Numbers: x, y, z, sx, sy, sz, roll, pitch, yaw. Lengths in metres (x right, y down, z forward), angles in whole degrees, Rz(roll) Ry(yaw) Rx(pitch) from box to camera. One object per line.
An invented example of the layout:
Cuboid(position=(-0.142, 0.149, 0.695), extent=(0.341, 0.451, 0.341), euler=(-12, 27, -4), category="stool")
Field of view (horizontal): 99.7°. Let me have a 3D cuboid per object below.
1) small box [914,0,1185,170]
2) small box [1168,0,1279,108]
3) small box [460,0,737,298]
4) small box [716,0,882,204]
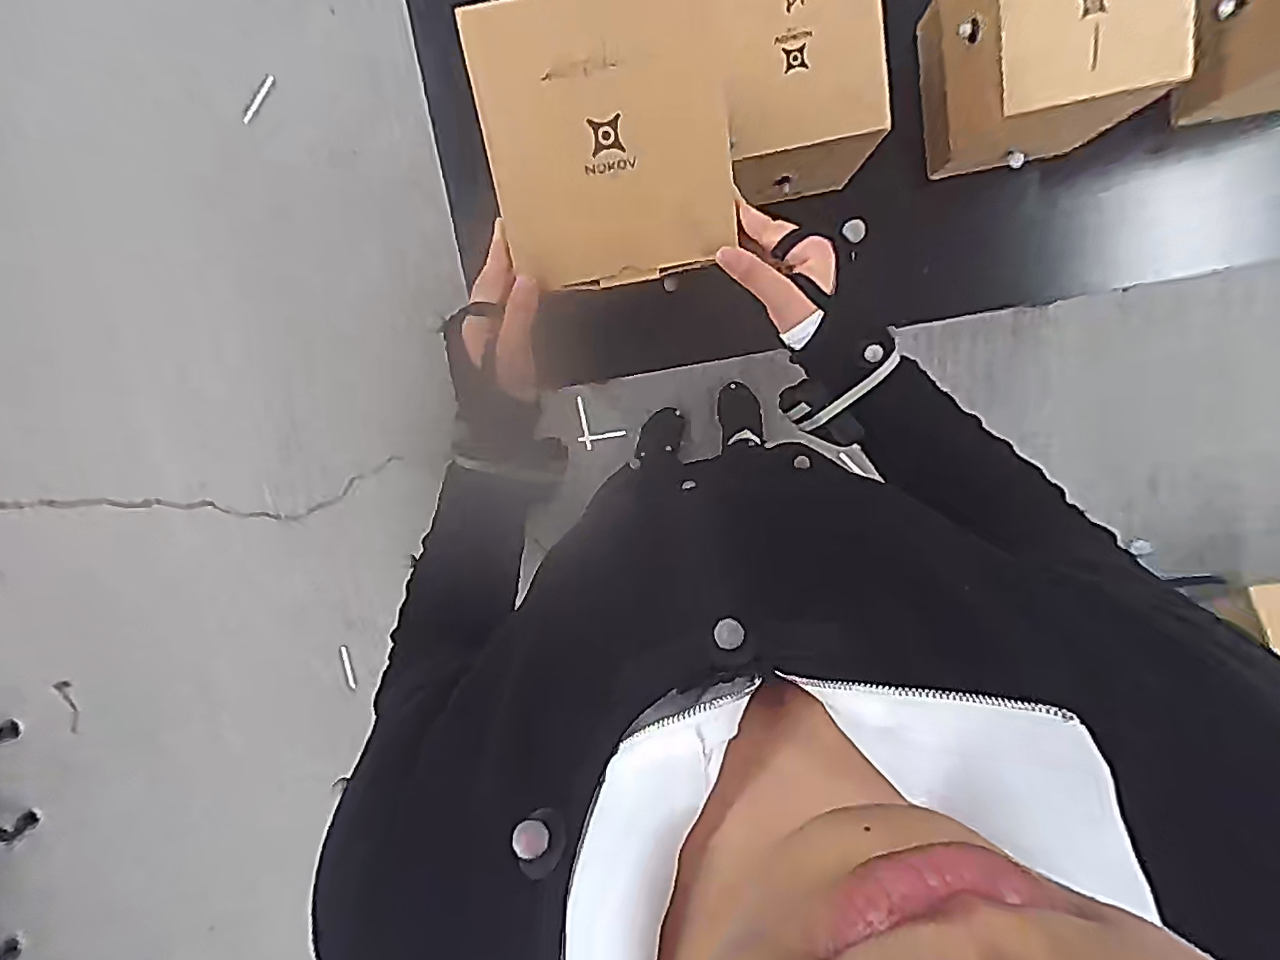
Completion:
Cuboid(position=(0.409, -0.464, 0.569), extent=(0.168, 0.176, 0.179), euler=(-10, 99, 7), category="small box")
Cuboid(position=(0.685, -0.509, 0.538), extent=(0.179, 0.176, 0.168), euler=(-7, 99, 7), category="small box")
Cuboid(position=(-0.023, -0.253, 0.441), extent=(0.168, 0.176, 0.179), euler=(-9, 109, 2), category="small box")
Cuboid(position=(0.148, -0.428, 0.597), extent=(0.168, 0.176, 0.179), euler=(-10, 98, 6), category="small box")
